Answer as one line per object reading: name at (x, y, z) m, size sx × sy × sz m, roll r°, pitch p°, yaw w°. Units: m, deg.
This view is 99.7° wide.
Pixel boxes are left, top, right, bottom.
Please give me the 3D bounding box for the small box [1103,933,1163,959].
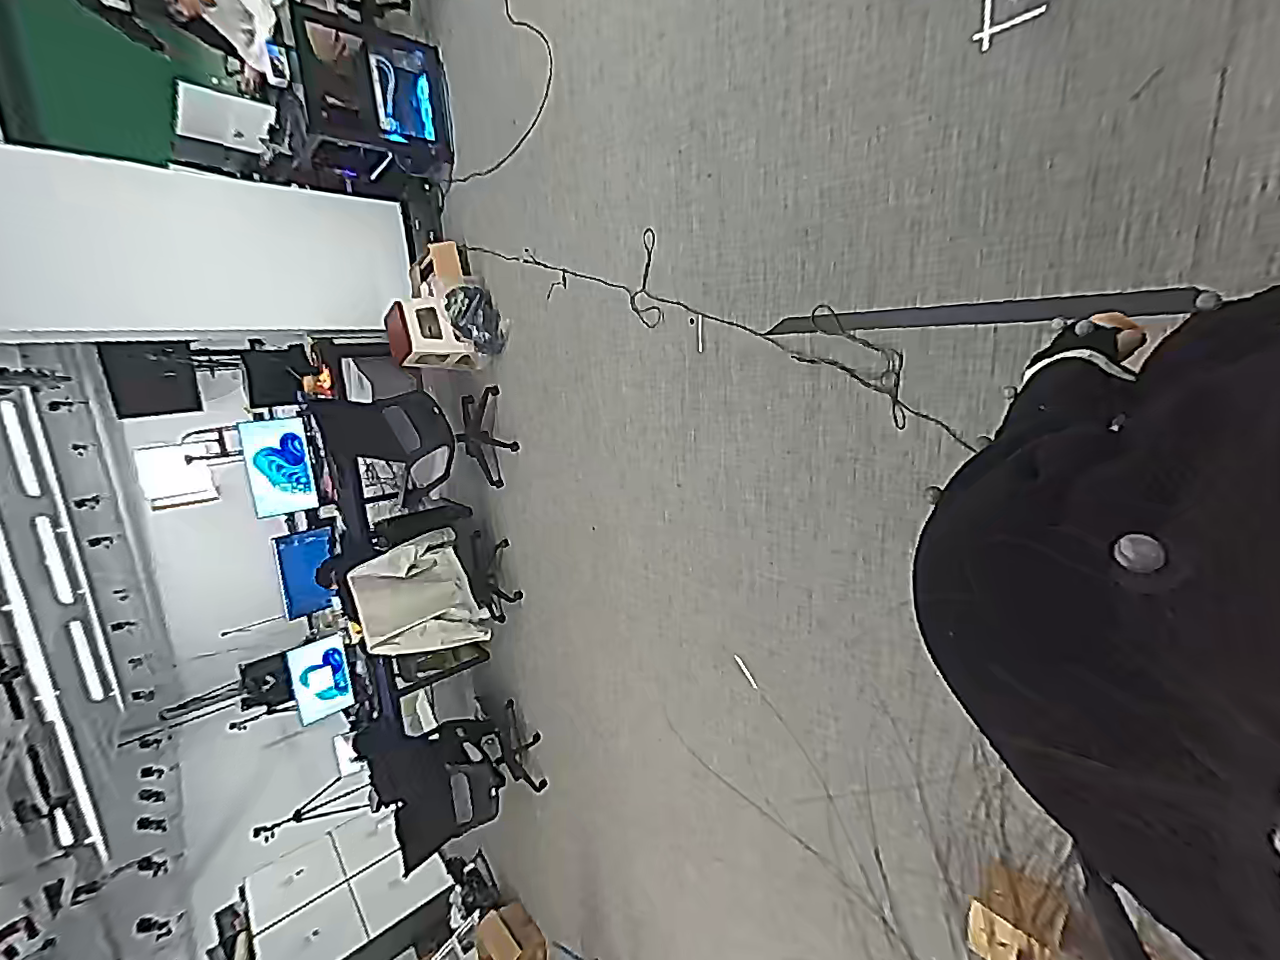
small box at (1.171, 1.228, 1.252) m, size 0.168 × 0.176 × 0.179 m, roll 16°, pitch 112°, yaw 46°
